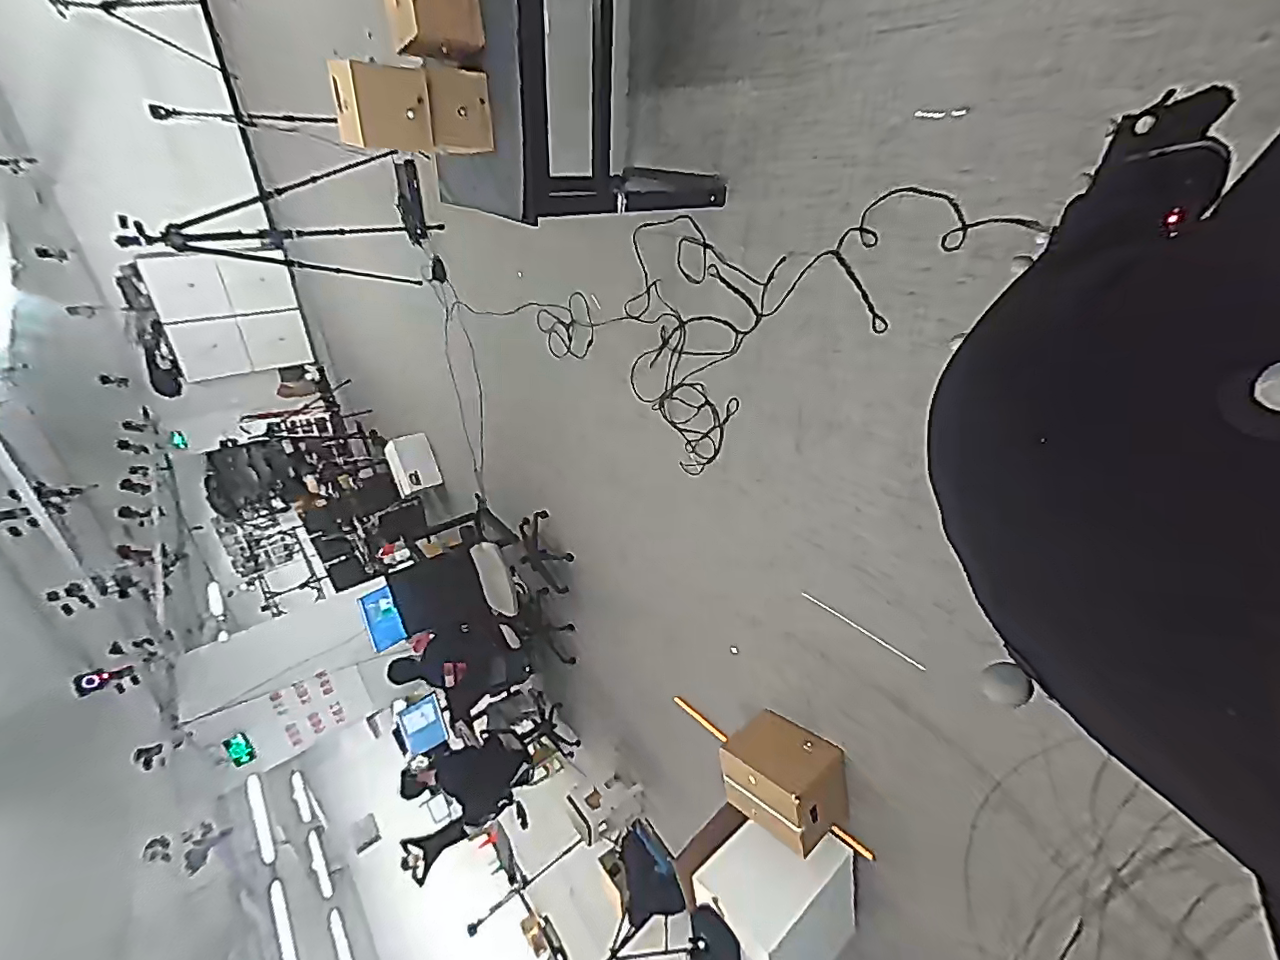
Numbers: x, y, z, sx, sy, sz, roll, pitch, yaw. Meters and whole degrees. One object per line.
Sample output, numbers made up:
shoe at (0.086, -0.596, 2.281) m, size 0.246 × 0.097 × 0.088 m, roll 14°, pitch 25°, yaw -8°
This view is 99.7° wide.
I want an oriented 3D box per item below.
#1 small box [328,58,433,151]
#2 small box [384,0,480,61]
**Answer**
small box at (-0.614, -0.893, 1.291) m, size 0.179 × 0.176 × 0.168 m, roll 36°, pitch 134°, yaw 37°
small box at (-0.494, -1.130, 1.290) m, size 0.179 × 0.176 × 0.168 m, roll 24°, pitch 126°, yaw 47°
